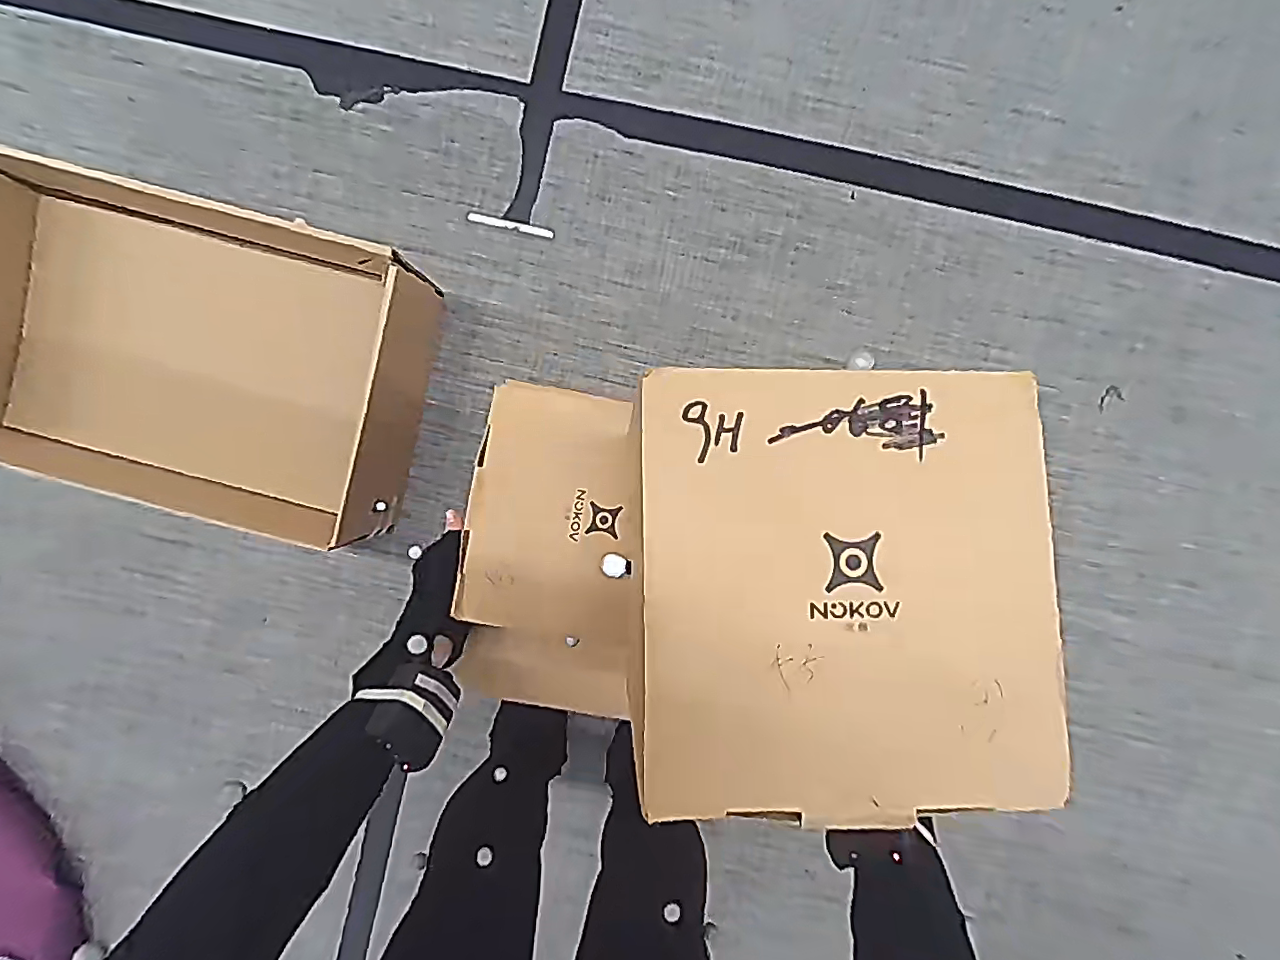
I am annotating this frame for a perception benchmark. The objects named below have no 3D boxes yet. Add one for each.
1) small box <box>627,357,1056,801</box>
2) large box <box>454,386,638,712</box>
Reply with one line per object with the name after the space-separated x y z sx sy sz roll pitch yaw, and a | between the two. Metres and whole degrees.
0.079 0.043 0.296 0.168 0.176 0.179 0 85 -3 | small box
0.021 0.096 0.697 0.408 0.320 0.320 10 85 -4 | large box
